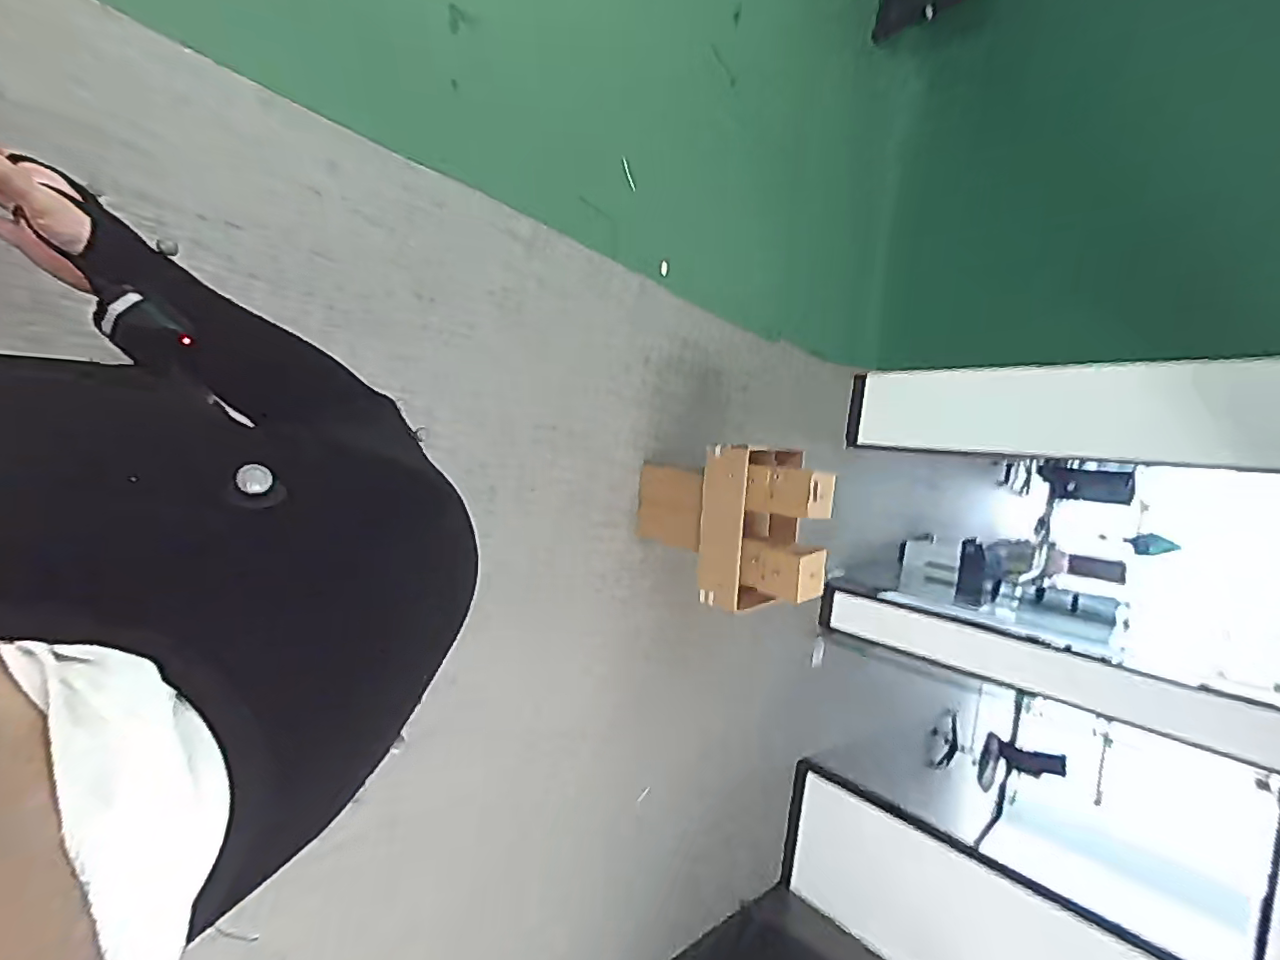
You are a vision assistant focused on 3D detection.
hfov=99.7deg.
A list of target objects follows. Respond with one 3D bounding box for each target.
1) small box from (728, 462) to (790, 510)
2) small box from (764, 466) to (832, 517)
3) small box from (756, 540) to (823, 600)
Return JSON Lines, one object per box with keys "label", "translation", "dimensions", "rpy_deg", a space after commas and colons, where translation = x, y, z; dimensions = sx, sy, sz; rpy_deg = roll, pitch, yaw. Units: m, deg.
{"label": "small box", "translation": [0.453, 0.021, 2.066], "dimensions": [0.179, 0.176, 0.168], "rpy_deg": [-2, 97, -45]}
{"label": "small box", "translation": [0.567, 0.041, 1.950], "dimensions": [0.179, 0.176, 0.168], "rpy_deg": [4, 94, -45]}
{"label": "small box", "translation": [0.540, 0.323, 1.964], "dimensions": [0.179, 0.176, 0.168], "rpy_deg": [-5, 101, -43]}
